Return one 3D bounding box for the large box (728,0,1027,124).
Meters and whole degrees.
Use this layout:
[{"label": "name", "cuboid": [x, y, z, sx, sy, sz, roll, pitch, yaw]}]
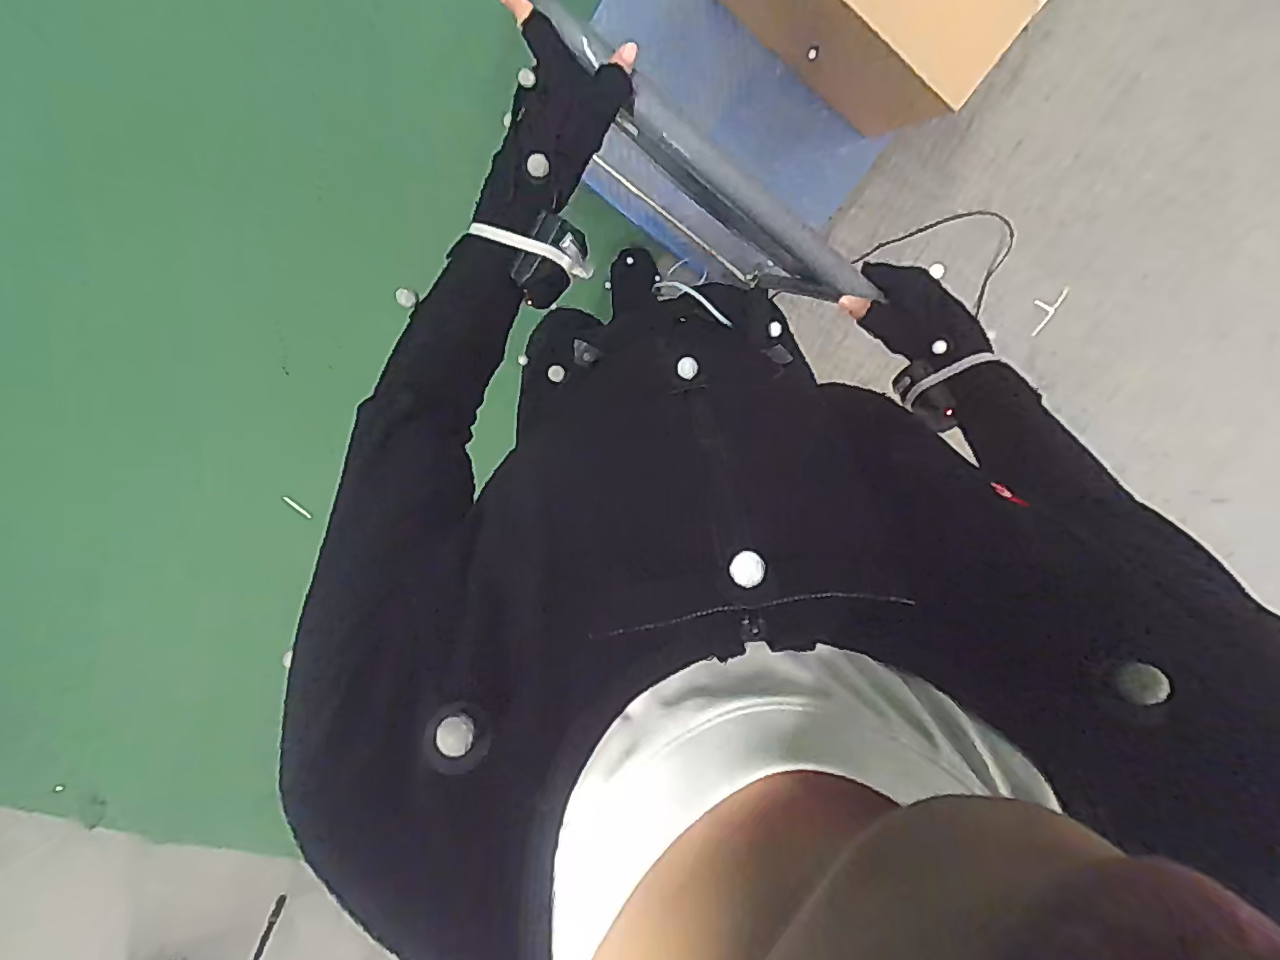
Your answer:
[{"label": "large box", "cuboid": [0.364, -0.819, 0.805, 0.408, 0.320, 0.320, 31, 111, -16]}]
